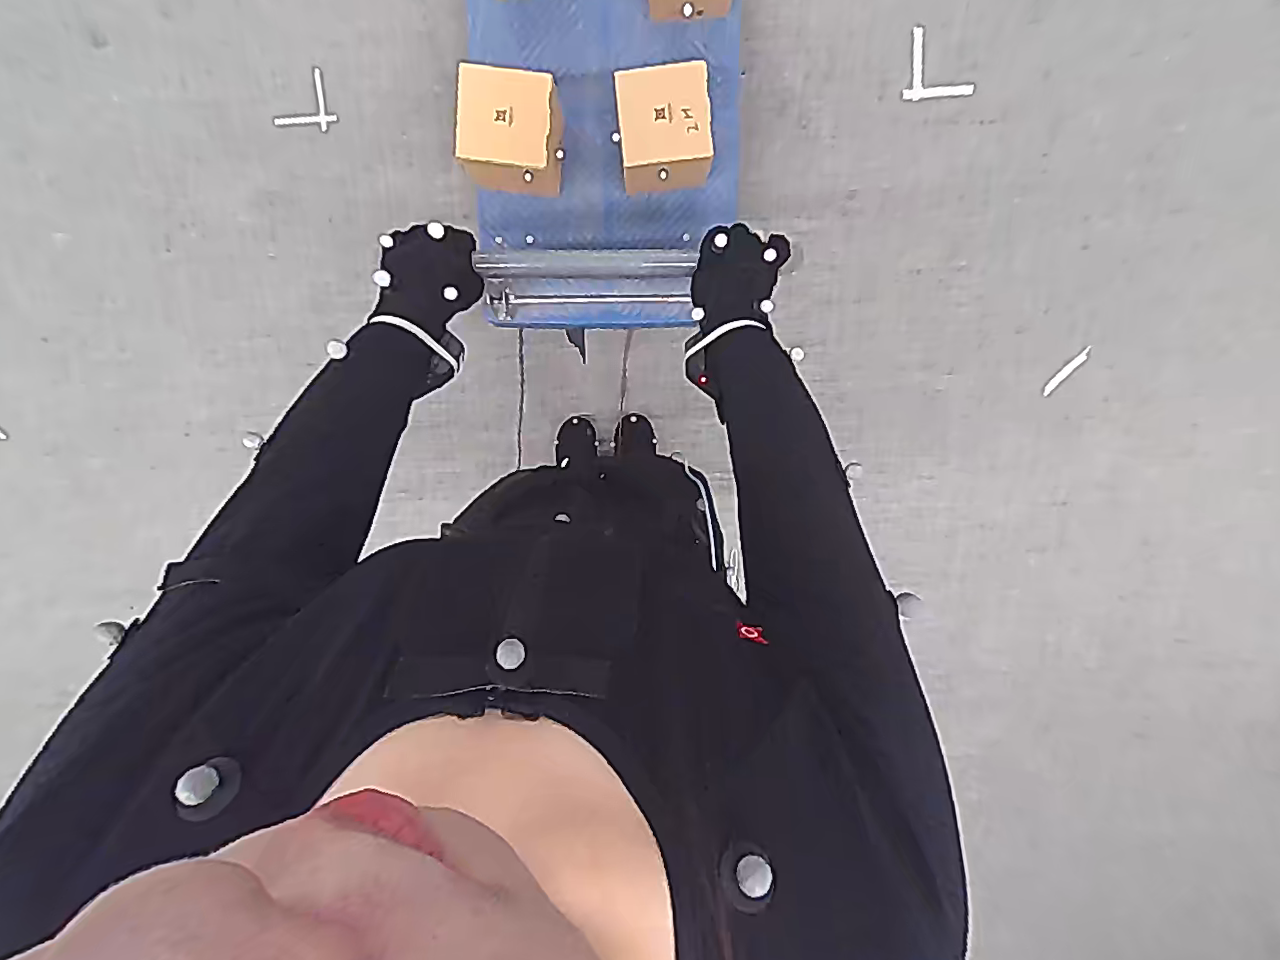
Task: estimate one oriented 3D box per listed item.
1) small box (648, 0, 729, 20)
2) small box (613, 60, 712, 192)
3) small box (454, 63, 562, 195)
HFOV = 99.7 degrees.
[{"bbox_3d":[0.094,-1.031,1.030,0.168,0.176,0.179,-4,101,1],"label":"small box"},{"bbox_3d":[0.044,-0.701,1.092,0.179,0.176,0.168,-6,101,1],"label":"small box"},{"bbox_3d":[-0.260,-0.697,1.094,0.179,0.176,0.168,5,100,-2],"label":"small box"}]
